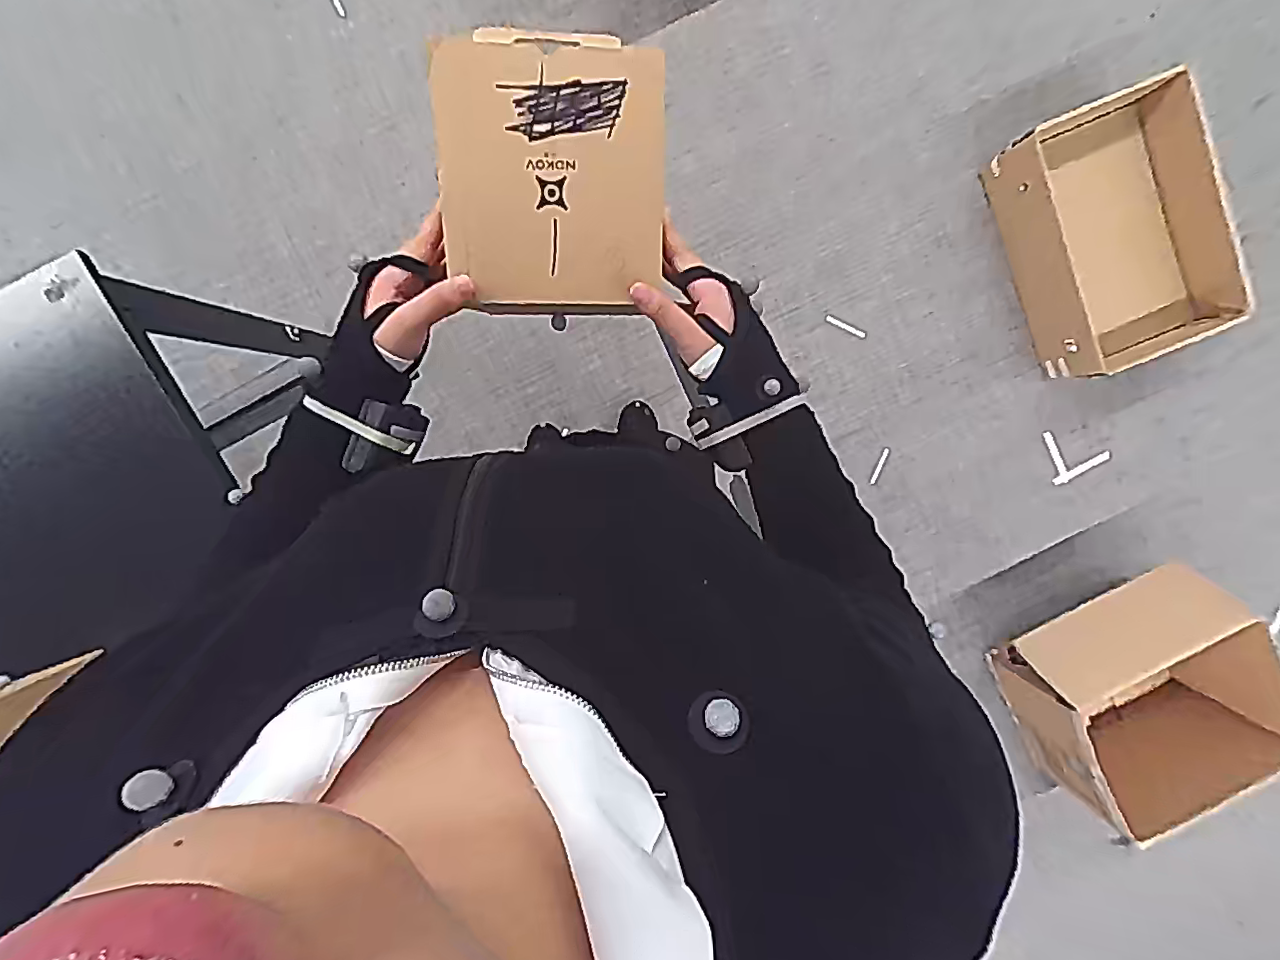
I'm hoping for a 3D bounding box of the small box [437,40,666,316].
[{"bbox_3d":[-0.071,-0.244,0.483,0.168,0.176,0.179,-1,105,-5],"label":"small box"}]
